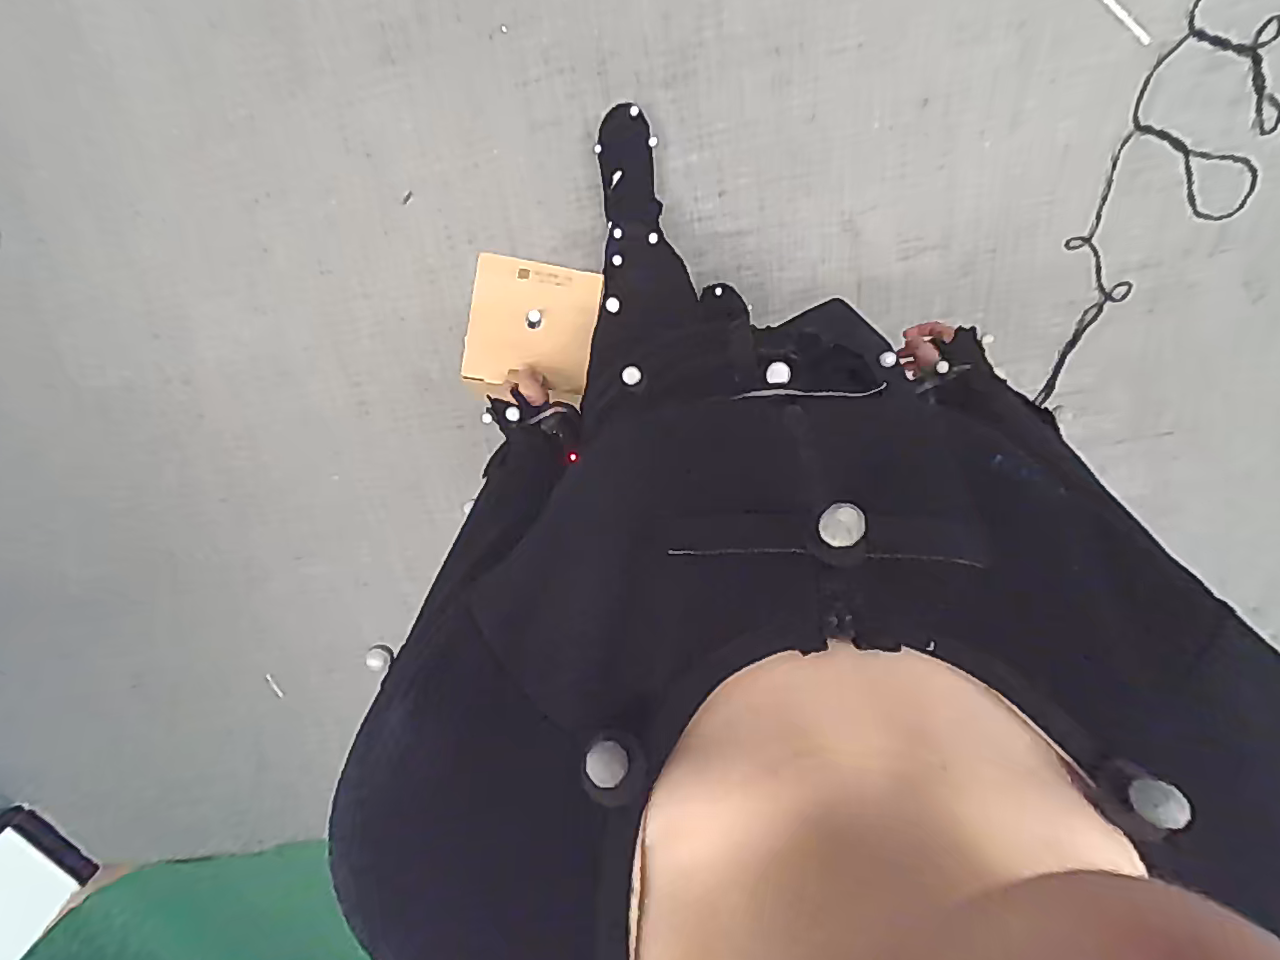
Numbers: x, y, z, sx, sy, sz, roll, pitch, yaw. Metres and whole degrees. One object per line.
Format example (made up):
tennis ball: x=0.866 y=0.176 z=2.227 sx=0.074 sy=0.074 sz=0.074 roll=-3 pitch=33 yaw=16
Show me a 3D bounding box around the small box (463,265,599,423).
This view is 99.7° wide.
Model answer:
small box: x=-0.154 y=-0.191 z=0.791 sx=0.168 sy=0.179 sz=0.176 roll=7 pitch=84 yaw=-9
